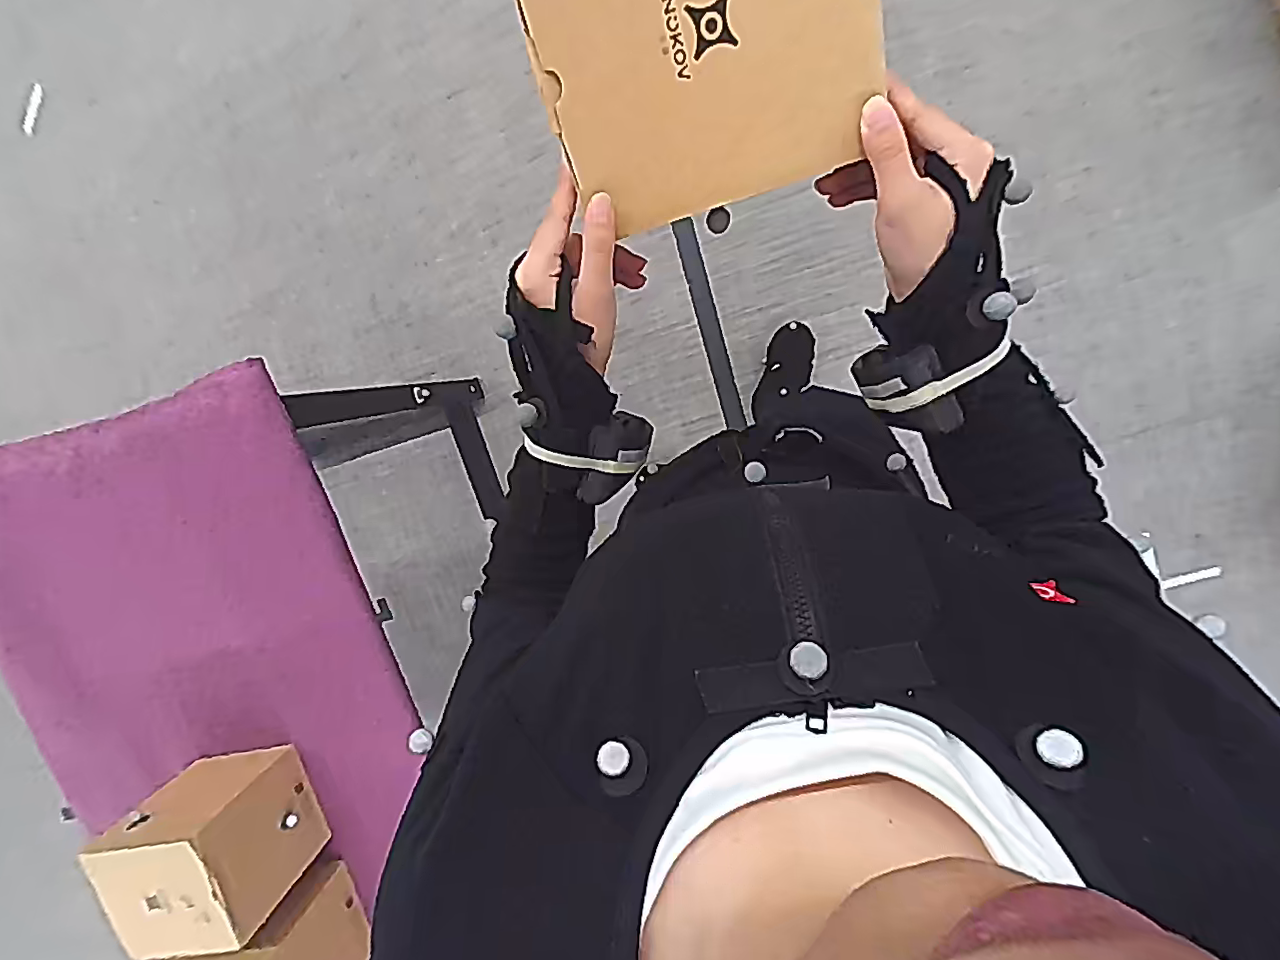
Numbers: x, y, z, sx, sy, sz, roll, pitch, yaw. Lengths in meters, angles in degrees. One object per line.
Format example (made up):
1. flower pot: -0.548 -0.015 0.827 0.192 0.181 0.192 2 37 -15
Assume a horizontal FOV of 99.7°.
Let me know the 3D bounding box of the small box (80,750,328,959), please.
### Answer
1. small box: -0.581 0.505 0.744 0.179 0.176 0.168 -13 101 9

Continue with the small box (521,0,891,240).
1. small box: 0.034 -0.270 0.342 0.179 0.176 0.168 -14 117 9
